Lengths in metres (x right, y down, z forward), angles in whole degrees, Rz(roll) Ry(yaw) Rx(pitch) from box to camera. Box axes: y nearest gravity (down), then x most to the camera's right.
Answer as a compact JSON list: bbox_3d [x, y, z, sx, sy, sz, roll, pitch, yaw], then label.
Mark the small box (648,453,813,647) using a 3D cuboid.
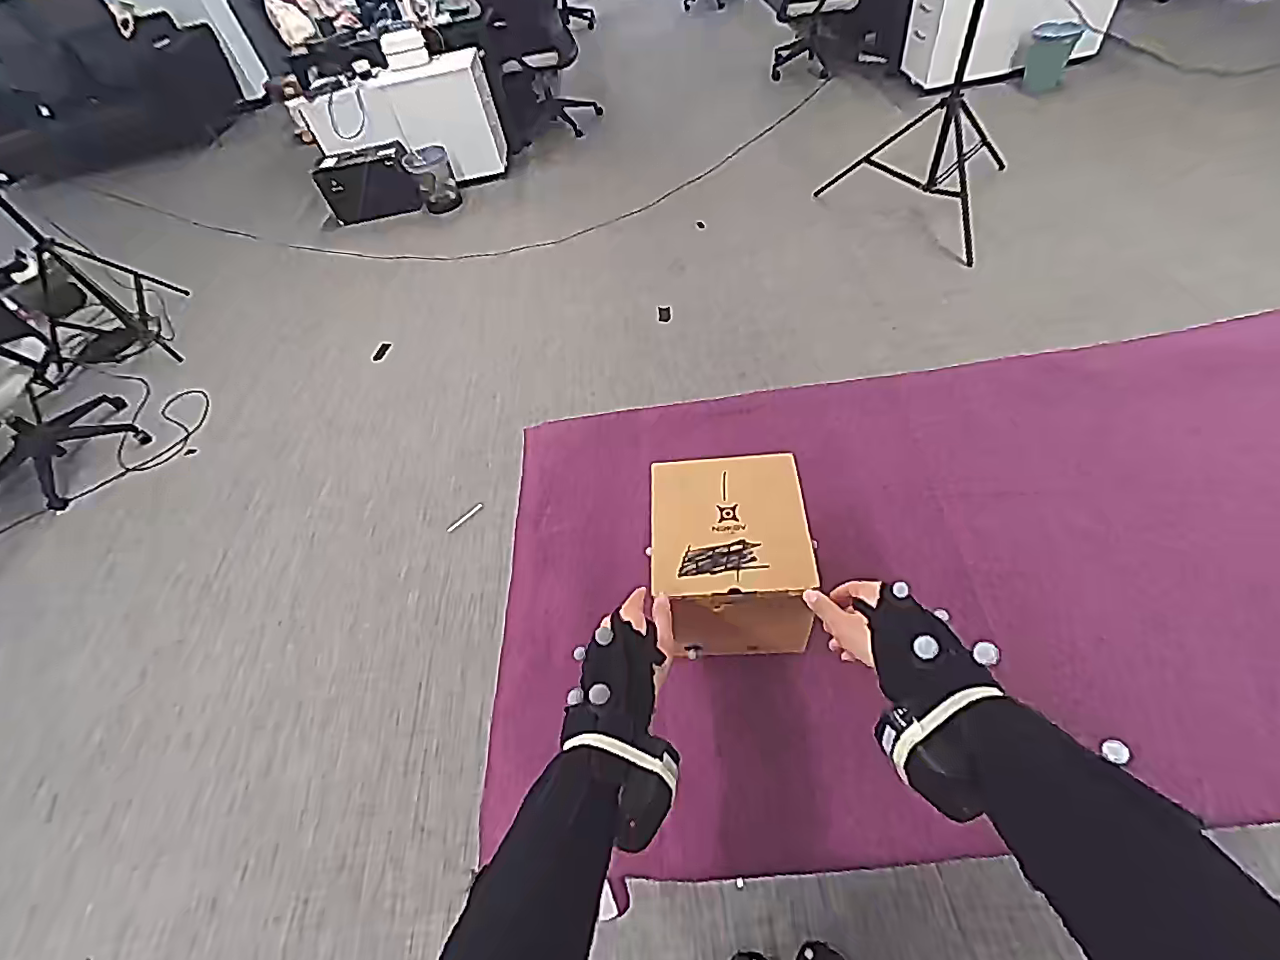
[{"bbox_3d":[0.103,0.091,0.644,0.168,0.176,0.179,-4,51,7],"label":"small box"}]
